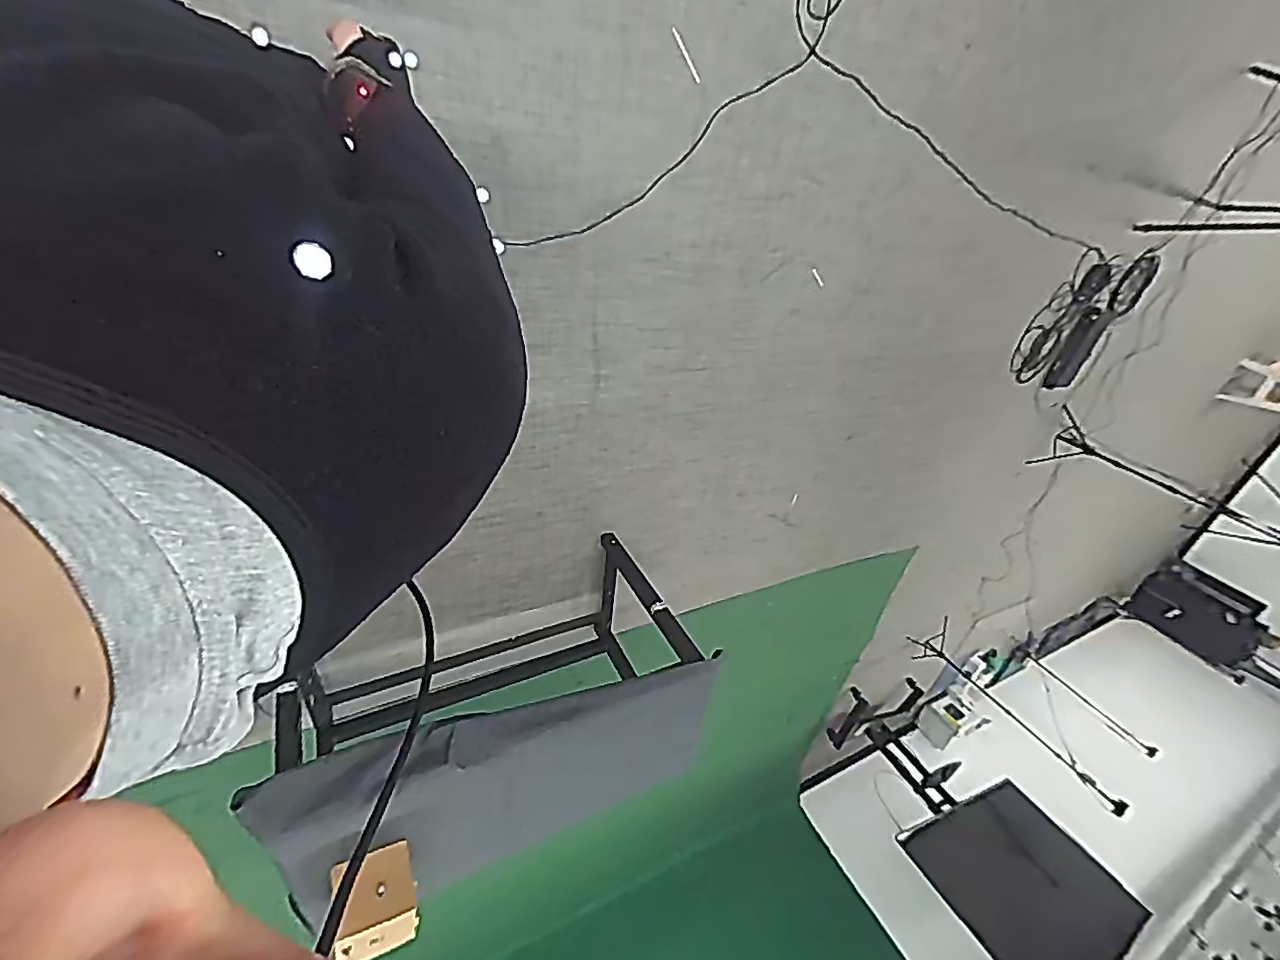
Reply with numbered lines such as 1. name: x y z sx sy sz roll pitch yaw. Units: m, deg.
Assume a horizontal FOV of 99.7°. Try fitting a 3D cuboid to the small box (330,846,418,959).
1. small box: -0.663 1.062 1.348 0.179 0.176 0.168 -5 123 -31
